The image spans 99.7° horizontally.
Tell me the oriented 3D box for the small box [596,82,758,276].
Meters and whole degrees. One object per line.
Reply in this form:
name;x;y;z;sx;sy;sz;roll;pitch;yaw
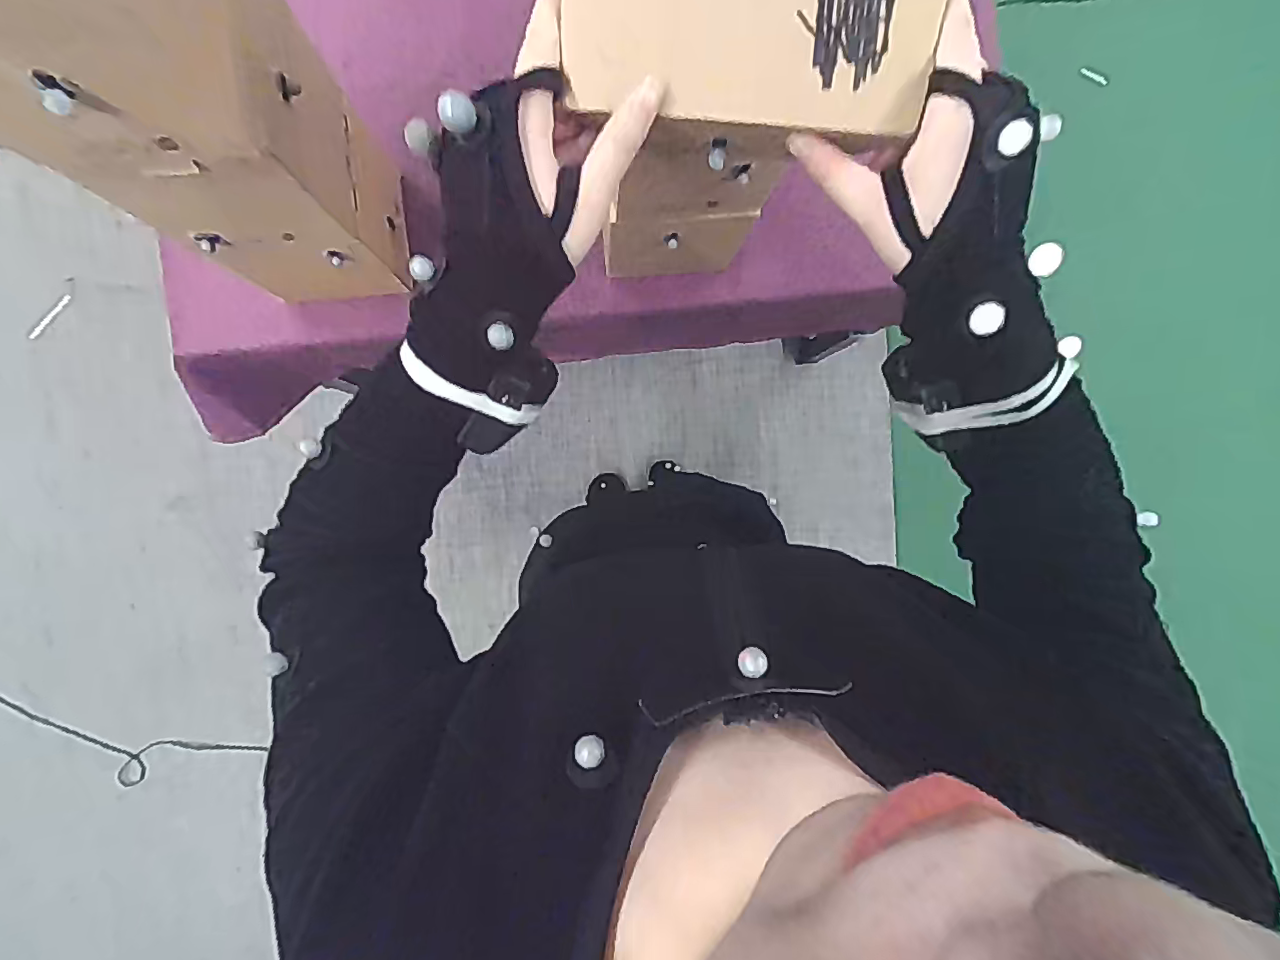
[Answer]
small box;0.038;-0.371;0.689;0.179;0.176;0.168;-5;91;-5

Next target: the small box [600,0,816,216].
small box;0.052;-0.377;0.526;0.168;0.176;0.179;-7;90;-6

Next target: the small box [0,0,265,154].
small box;-0.361;-0.324;0.325;0.168;0.176;0.179;-6;91;-7

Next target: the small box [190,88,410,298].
small box;-0.400;-0.329;0.651;0.179;0.176;0.168;-7;91;-6

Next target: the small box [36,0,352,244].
small box;-0.383;-0.330;0.488;0.168;0.176;0.179;-7;89;-6
